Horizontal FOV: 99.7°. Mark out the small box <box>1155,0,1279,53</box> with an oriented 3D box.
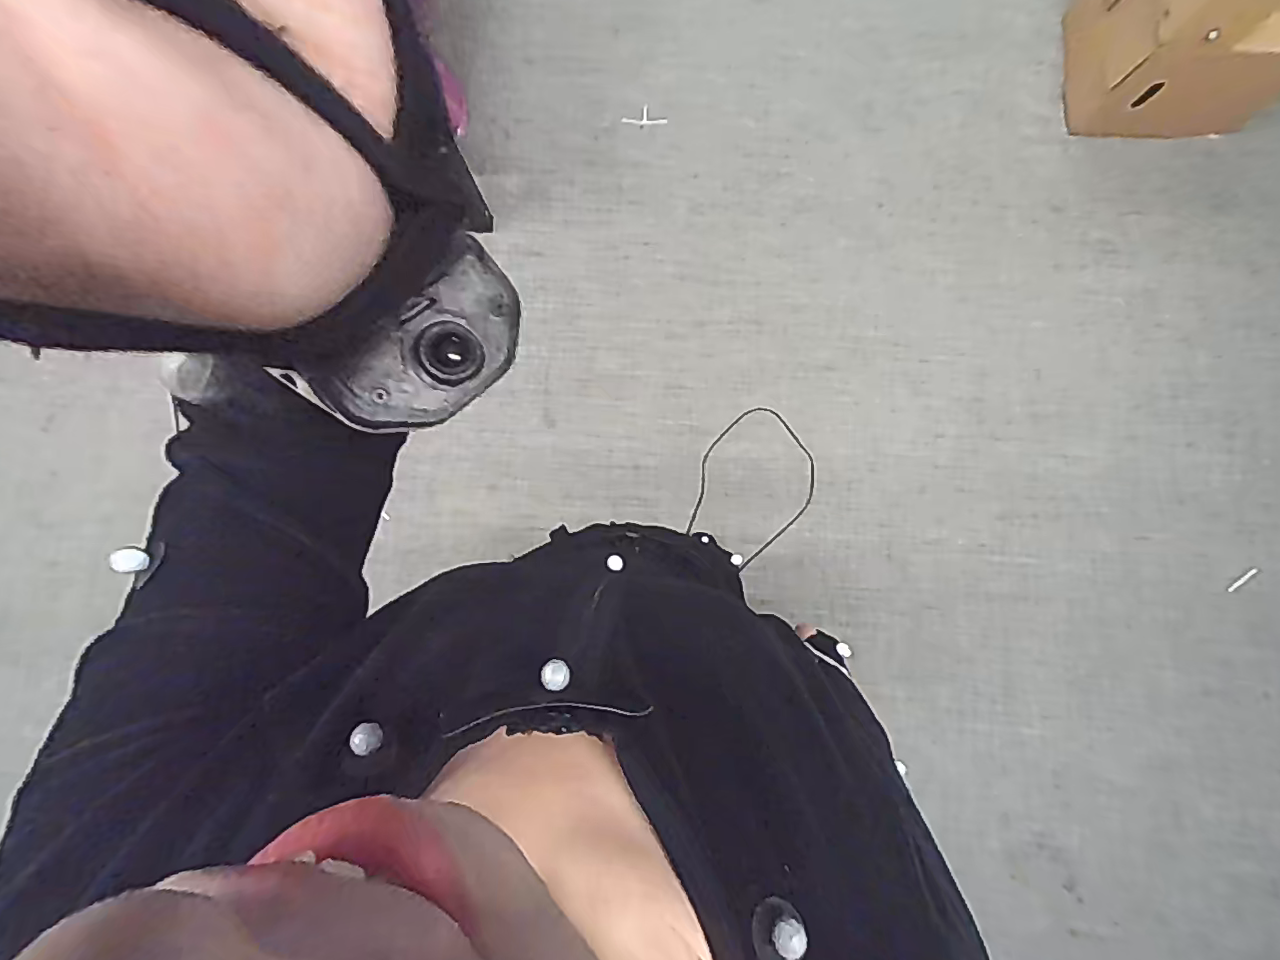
[{"bbox_3d":[1.355,-1.133,1.248,0.179,0.176,0.168,4,84,0],"label":"small box"}]
